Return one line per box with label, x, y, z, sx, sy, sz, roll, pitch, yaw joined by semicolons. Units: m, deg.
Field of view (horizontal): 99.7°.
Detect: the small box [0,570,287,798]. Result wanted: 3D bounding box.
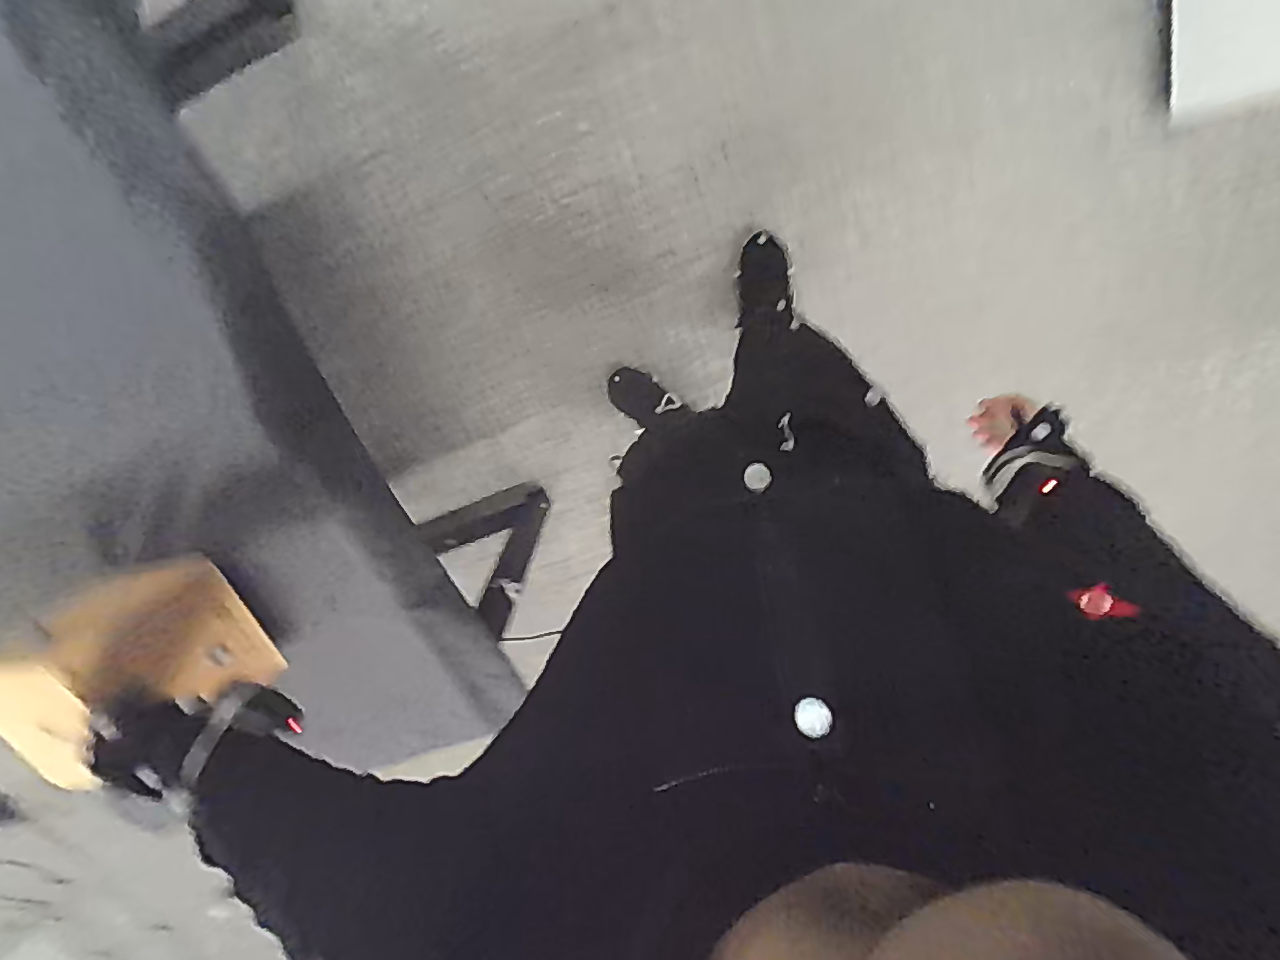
small box;-0.553;0.219;0.603;0.179;0.176;0.168;-10;114;17
